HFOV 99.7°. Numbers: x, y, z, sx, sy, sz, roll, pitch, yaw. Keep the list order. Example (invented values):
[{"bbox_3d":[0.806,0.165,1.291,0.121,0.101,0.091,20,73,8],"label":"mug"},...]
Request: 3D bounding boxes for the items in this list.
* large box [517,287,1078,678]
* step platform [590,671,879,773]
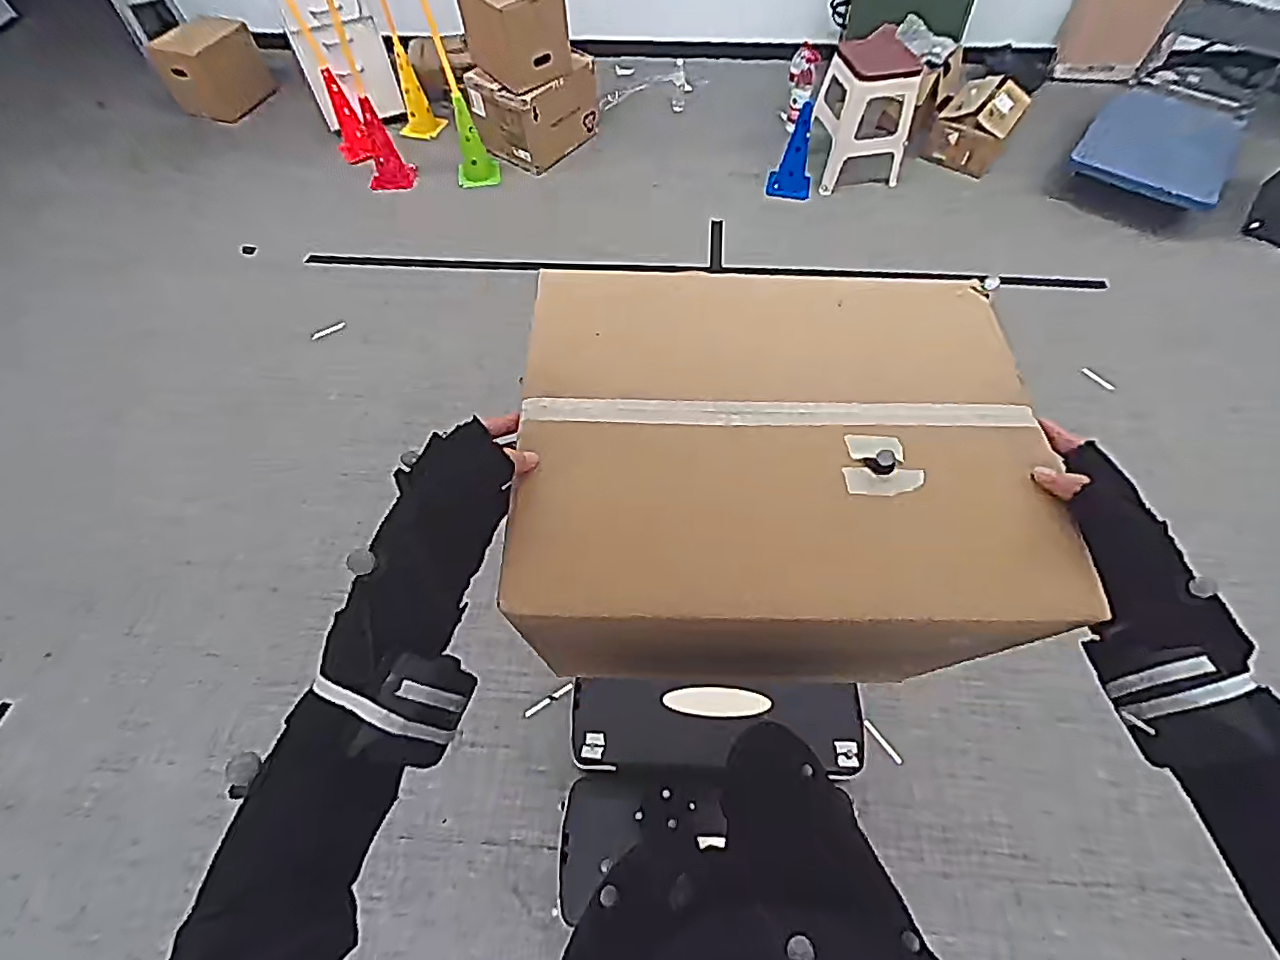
[{"bbox_3d":[0.104,0.023,0.572,0.408,0.320,0.320,0,63,-2],"label":"large box"},{"bbox_3d":[0.218,0.554,1.335,0.684,0.204,0.286,1,60,0],"label":"step platform"}]
